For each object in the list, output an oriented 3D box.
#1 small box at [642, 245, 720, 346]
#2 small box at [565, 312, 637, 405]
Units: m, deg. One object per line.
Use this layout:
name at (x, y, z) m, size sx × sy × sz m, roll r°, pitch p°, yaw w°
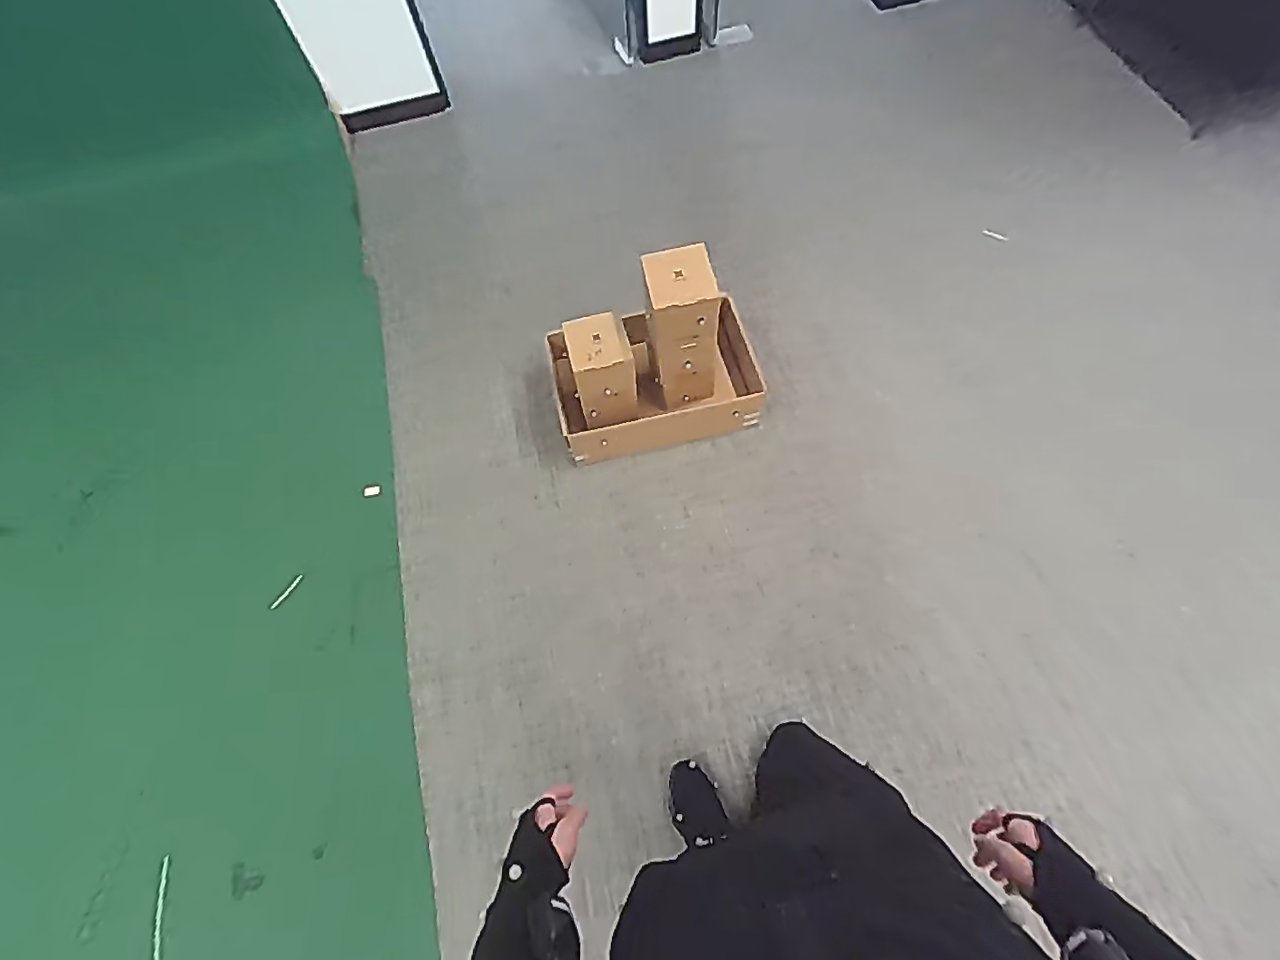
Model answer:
small box at (0.107, -0.467, 1.399) m, size 0.168 × 0.176 × 0.179 m, roll -11°, pitch 67°, yaw 0°
small box at (-0.108, -0.341, 1.530) m, size 0.168 × 0.176 × 0.179 m, roll -14°, pitch 66°, yaw -3°
